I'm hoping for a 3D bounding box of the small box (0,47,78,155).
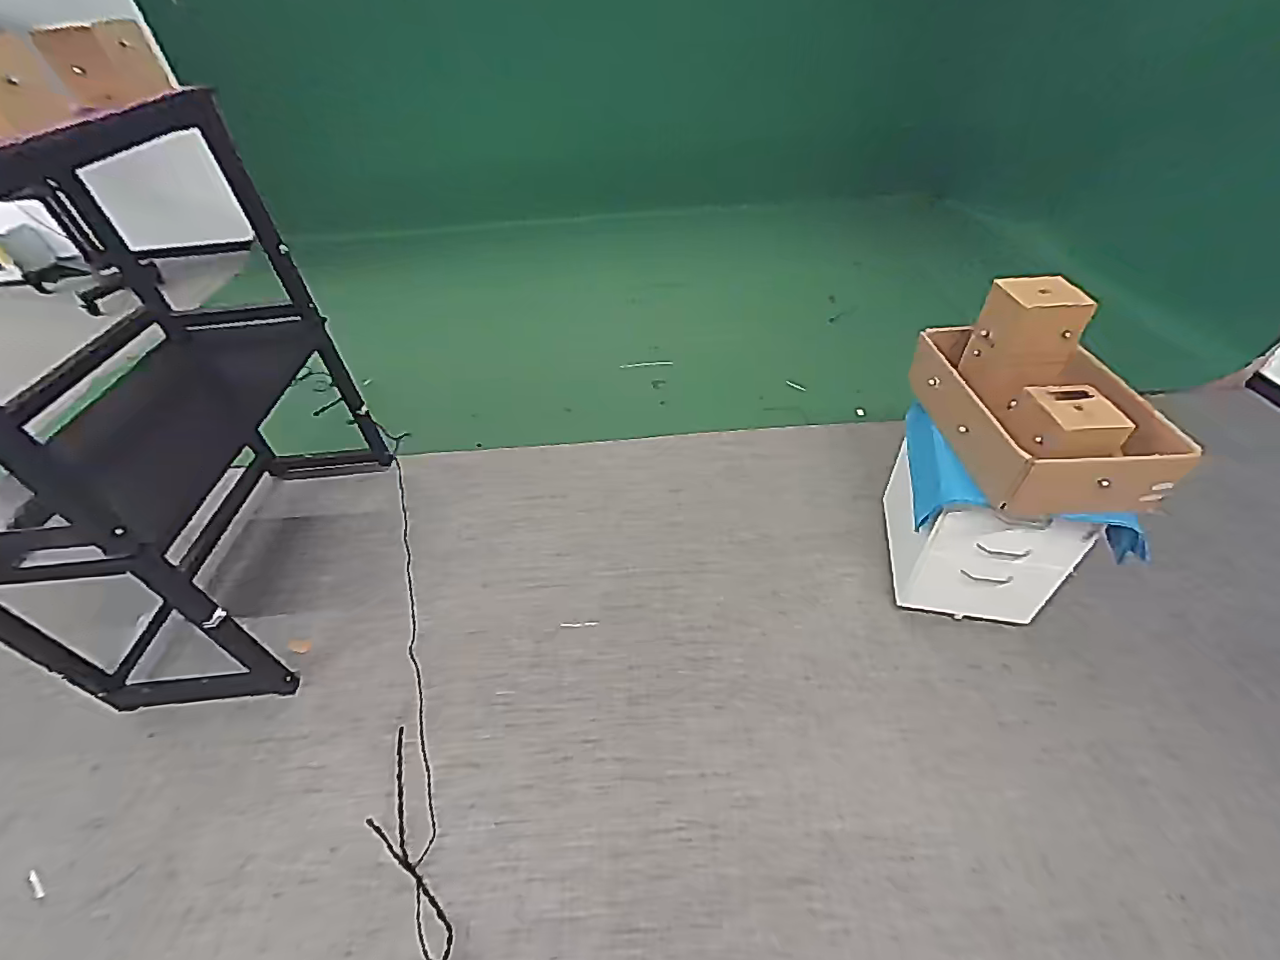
[{"bbox_3d":[-1.402,-0.819,1.175,0.168,0.176,0.179,-5,44,2],"label":"small box"}]

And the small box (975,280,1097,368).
[{"bbox_3d":[1.036,-0.412,1.434,0.179,0.176,0.168,-2,44,2],"label":"small box"}]

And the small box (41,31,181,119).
[{"bbox_3d":[-1.407,-1.088,1.458,0.168,0.176,0.179,-1,44,4],"label":"small box"}]
